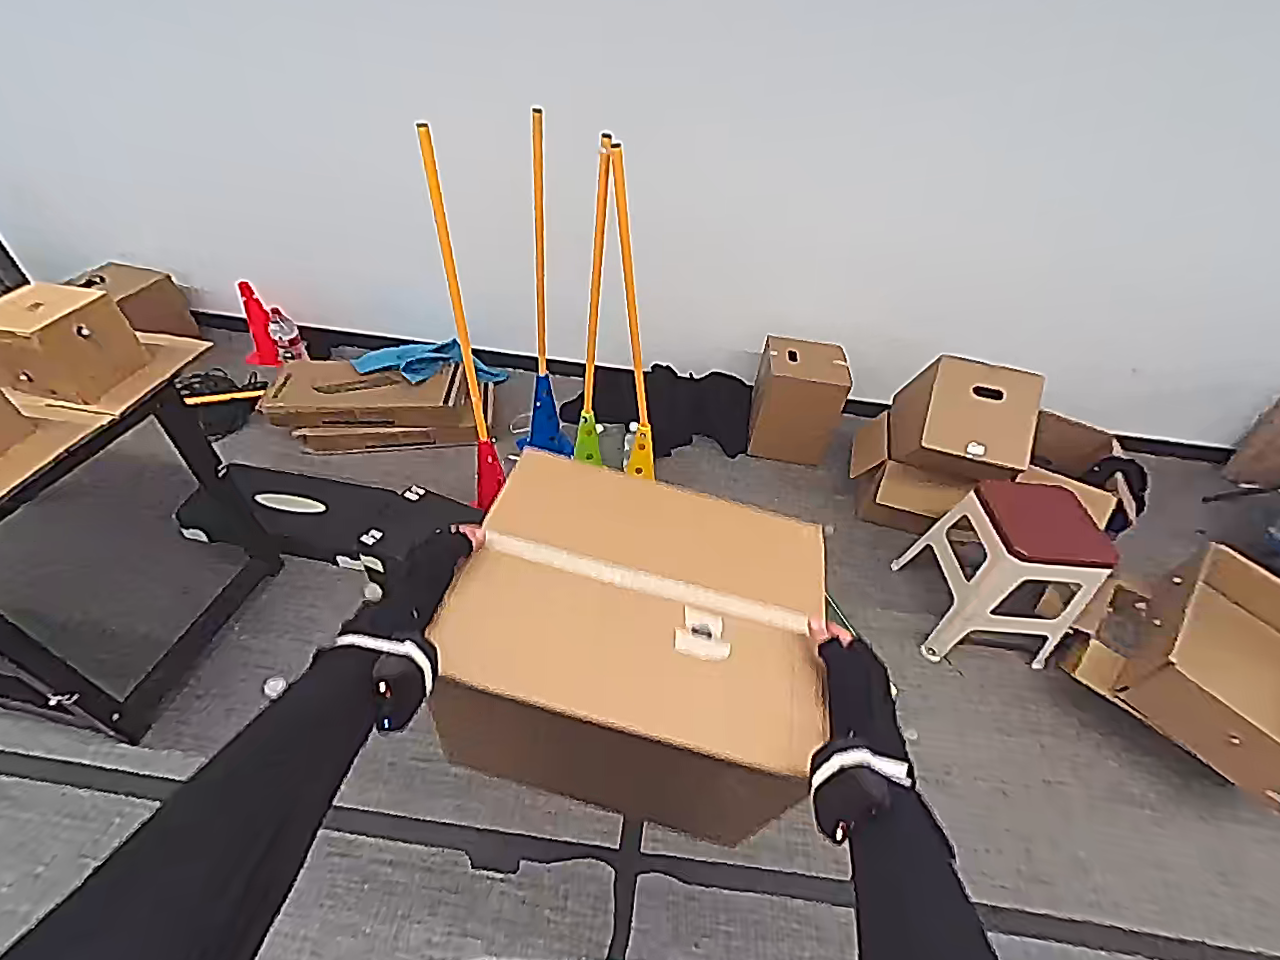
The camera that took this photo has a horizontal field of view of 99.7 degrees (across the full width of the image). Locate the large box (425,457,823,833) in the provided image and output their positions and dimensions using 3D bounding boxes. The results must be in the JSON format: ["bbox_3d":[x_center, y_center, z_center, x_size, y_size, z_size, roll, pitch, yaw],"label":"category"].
[{"bbox_3d":[-0.015,0.221,0.724,0.408,0.320,0.320,15,47,1],"label":"large box"}]
